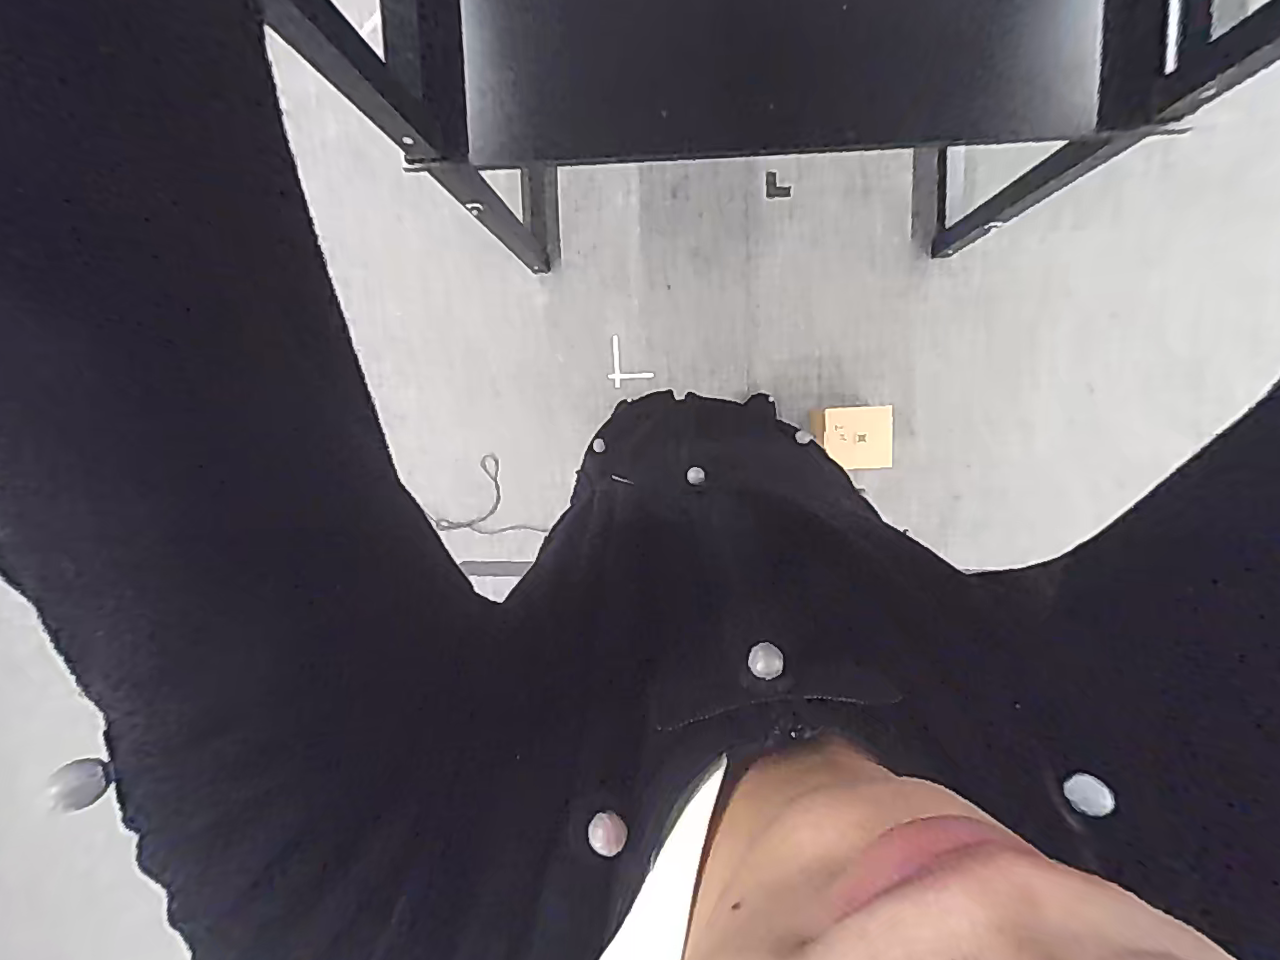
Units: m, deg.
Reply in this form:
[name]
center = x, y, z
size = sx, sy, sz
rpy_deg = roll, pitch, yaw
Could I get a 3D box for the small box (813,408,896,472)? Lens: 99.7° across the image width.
[small box]
center = 0.591, -0.115, 1.504
size = 0.179, 0.176, 0.168
rpy_deg = -2, 96, 6
